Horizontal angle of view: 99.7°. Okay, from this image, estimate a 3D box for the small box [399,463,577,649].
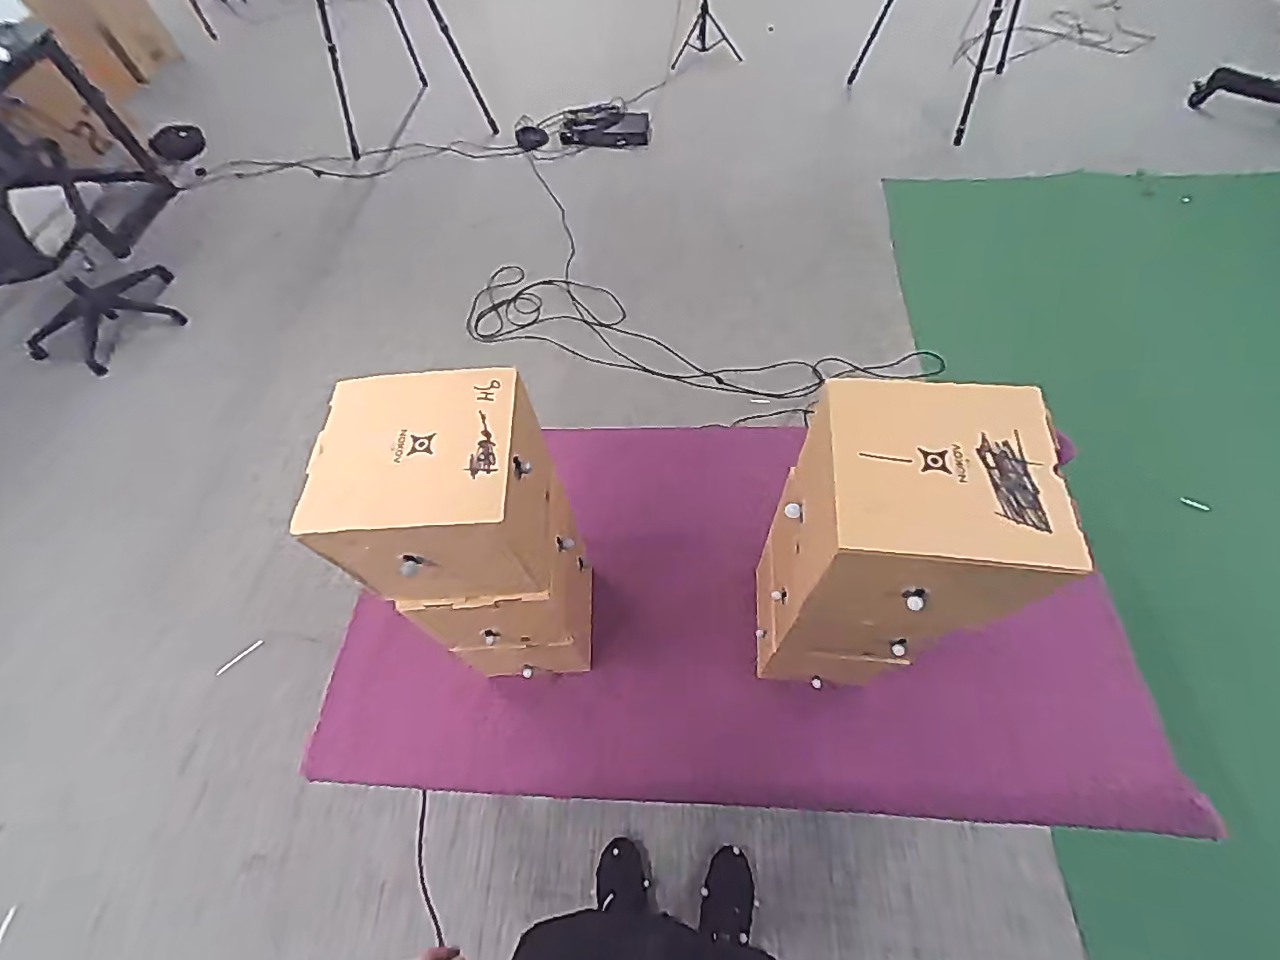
[{"bbox_3d":[-0.175,0.100,0.682,0.168,0.176,0.179,-6,59,1],"label":"small box"}]

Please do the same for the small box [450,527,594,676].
[{"bbox_3d":[-0.165,0.187,0.819,0.168,0.176,0.179,-4,59,3],"label":"small box"}]

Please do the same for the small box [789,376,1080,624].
[{"bbox_3d":[0.239,0.025,0.495,0.179,0.176,0.168,4,60,8],"label":"small box"}]

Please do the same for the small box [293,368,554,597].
[{"bbox_3d":[-0.194,0.012,0.545,0.179,0.176,0.168,-5,59,3],"label":"small box"}]

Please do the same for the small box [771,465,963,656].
[{"bbox_3d":[0.249,0.101,0.640,0.168,0.176,0.179,2,59,6],"label":"small box"}]
